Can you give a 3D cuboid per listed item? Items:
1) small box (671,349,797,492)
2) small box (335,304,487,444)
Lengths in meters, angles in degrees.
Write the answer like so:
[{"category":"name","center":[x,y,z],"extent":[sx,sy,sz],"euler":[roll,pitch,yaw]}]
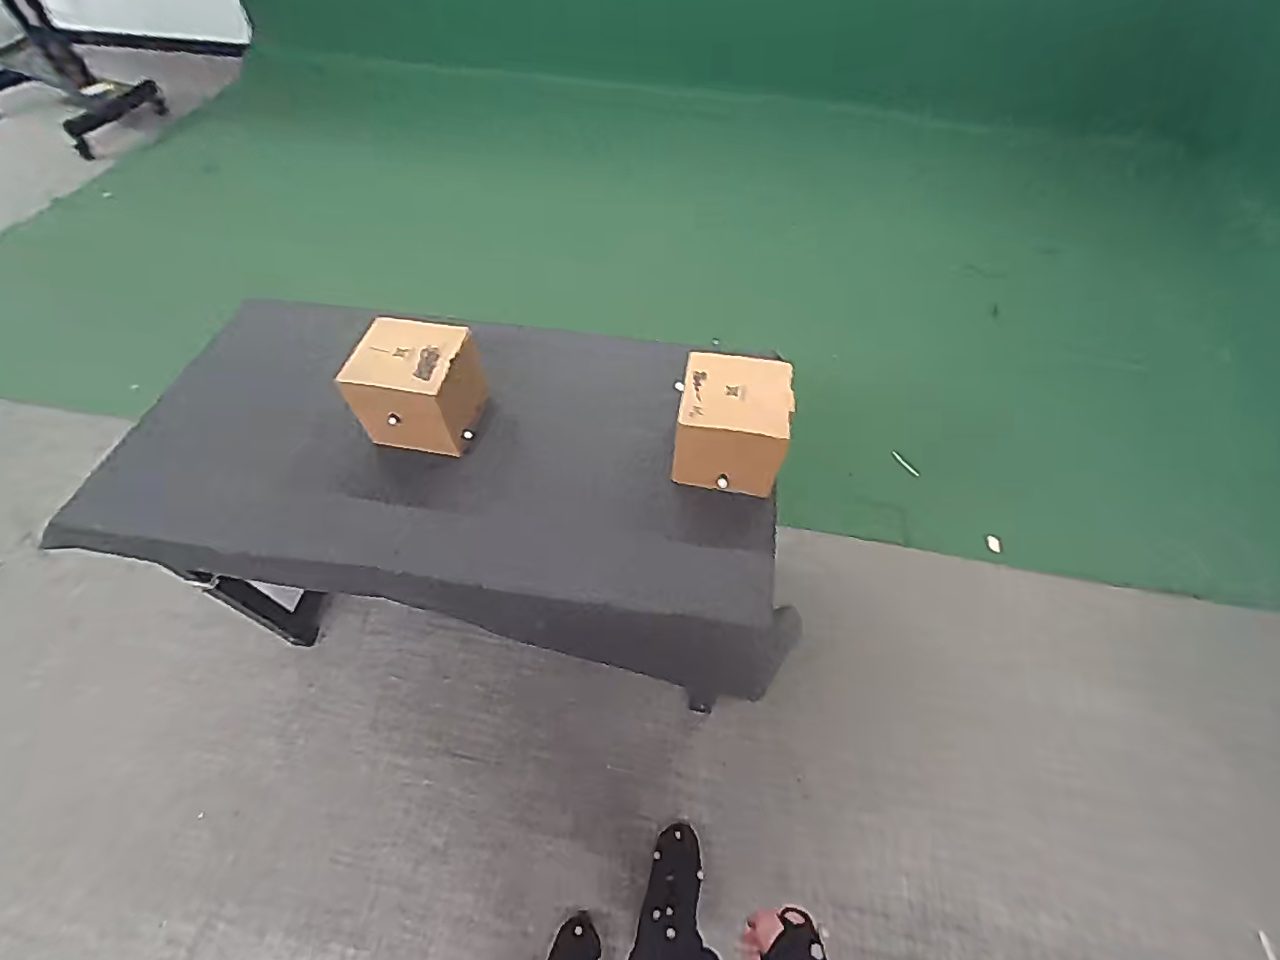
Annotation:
[{"category":"small box","center":[0.159,-0.097,0.937],"extent":[0.179,0.176,0.168],"euler":[11,56,4]},{"category":"small box","center":[-0.393,-0.184,0.968],"extent":[0.179,0.176,0.168],"euler":[10,55,5]}]
